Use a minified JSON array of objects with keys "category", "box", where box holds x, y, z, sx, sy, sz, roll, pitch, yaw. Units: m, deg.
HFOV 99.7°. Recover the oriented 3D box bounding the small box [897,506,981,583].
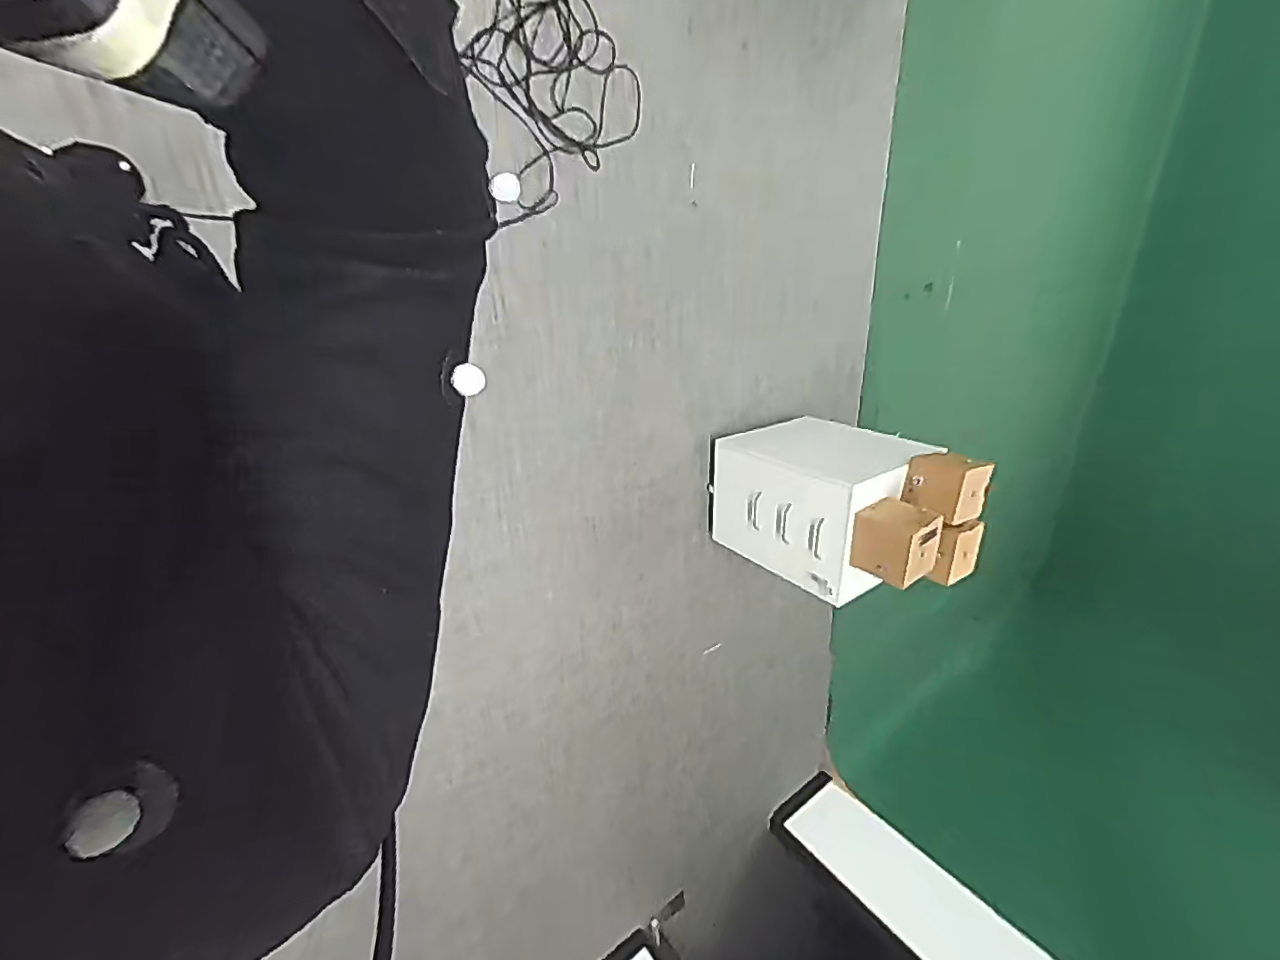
[{"category":"small box","box":[0.951,0.201,1.731,0.168,0.176,0.179,-12,112,-33]}]
